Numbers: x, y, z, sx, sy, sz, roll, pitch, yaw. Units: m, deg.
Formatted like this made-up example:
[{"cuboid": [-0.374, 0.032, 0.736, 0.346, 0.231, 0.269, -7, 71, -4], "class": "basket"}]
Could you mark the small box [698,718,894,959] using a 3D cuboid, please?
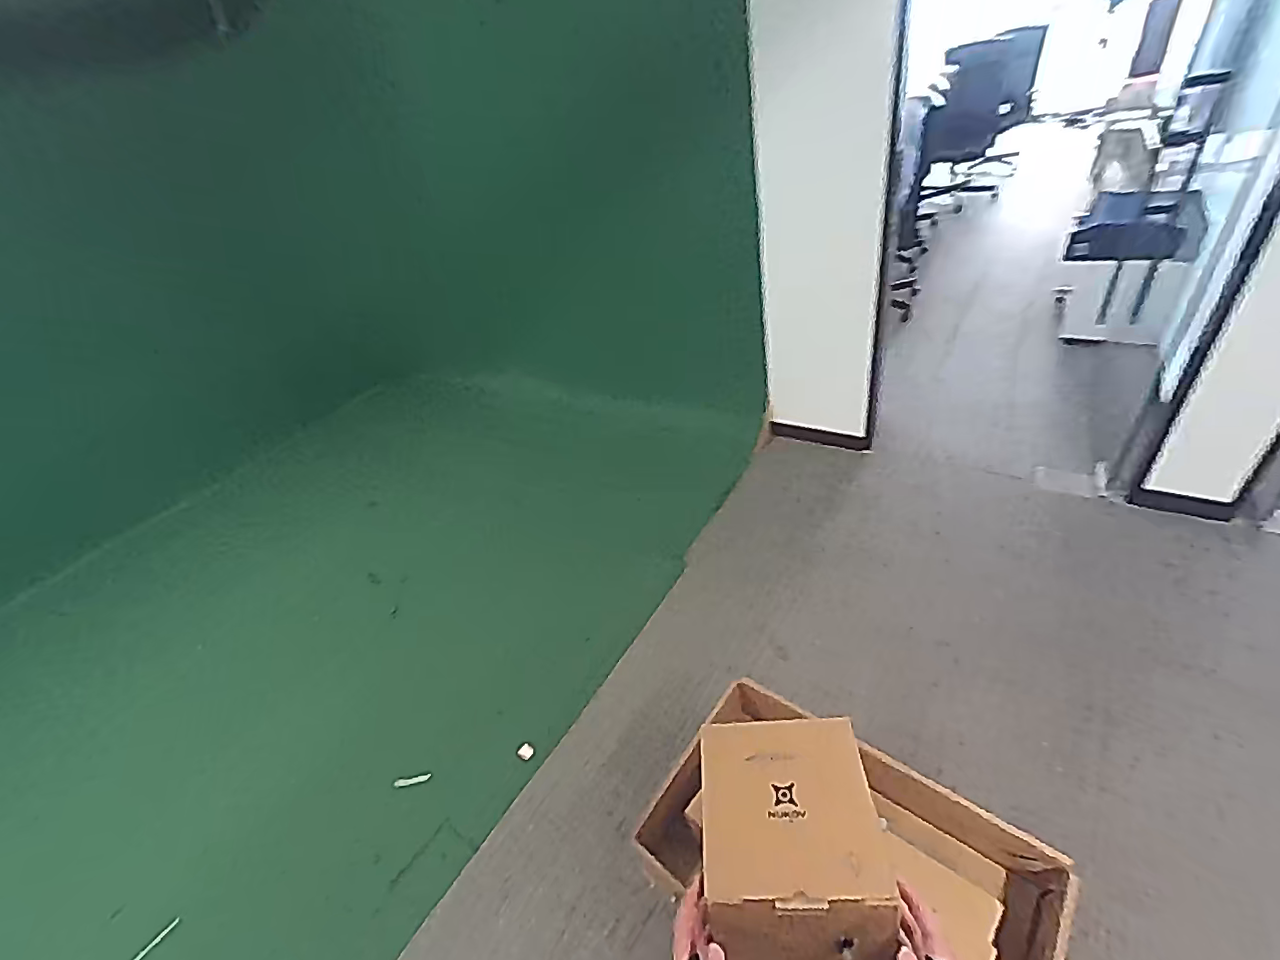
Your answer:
[{"cuboid": [0.153, 0.380, 0.566, 0.168, 0.176, 0.179, -6, 30, 9], "class": "small box"}]
